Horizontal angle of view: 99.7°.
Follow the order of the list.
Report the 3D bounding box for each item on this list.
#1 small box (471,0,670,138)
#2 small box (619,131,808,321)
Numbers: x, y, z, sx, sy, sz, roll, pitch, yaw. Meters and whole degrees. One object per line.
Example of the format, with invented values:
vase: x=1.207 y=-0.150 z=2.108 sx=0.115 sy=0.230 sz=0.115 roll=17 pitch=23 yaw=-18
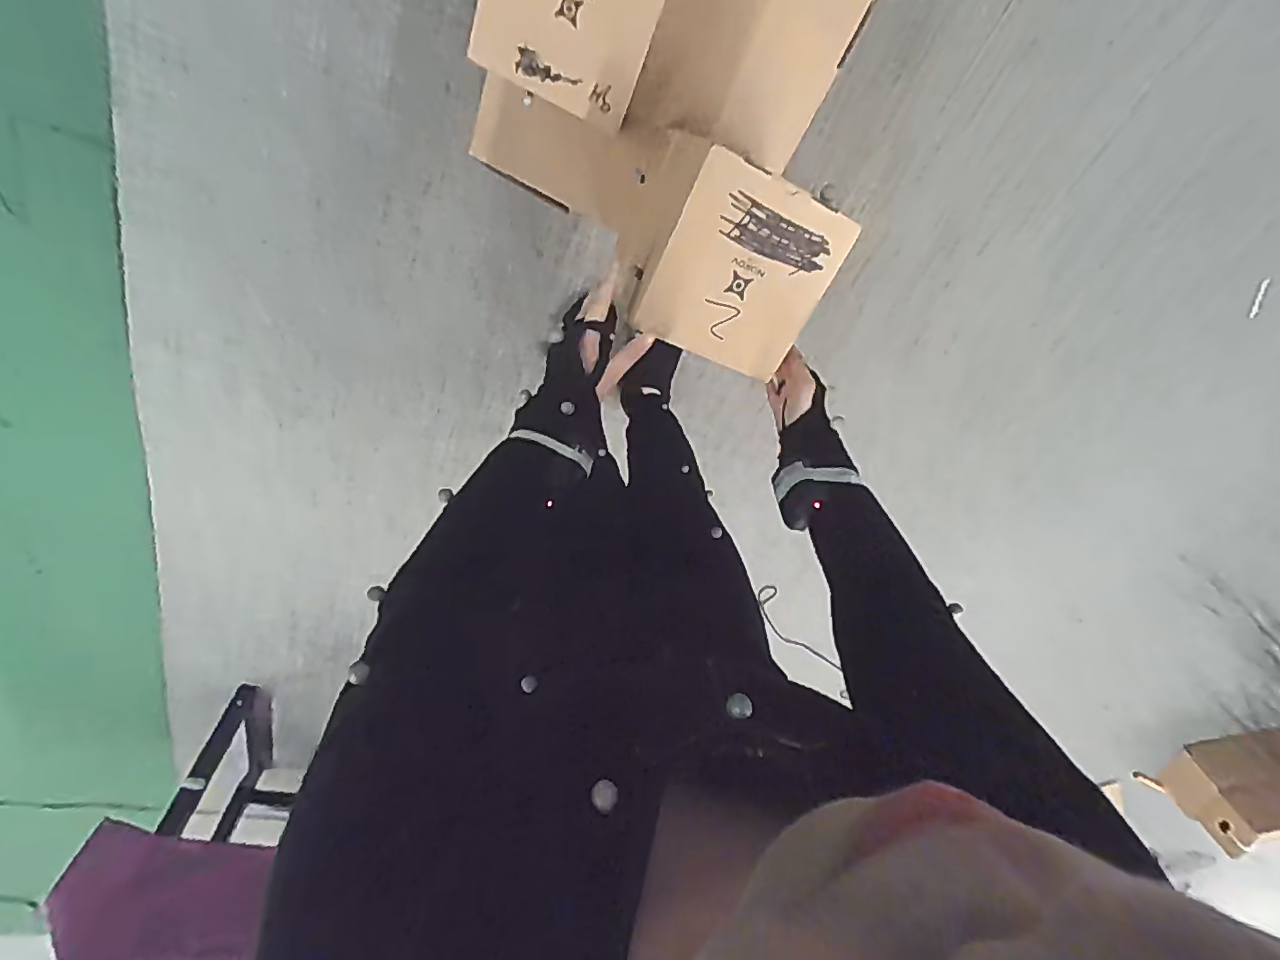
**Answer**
small box: x=-0.070 y=-0.505 z=0.588 sx=0.168 sy=0.176 sz=0.179 roll=18 pitch=119 yaw=-17
small box: x=0.083 y=-0.341 z=0.717 sx=0.179 sy=0.176 sz=0.168 roll=17 pitch=120 yaw=-17
